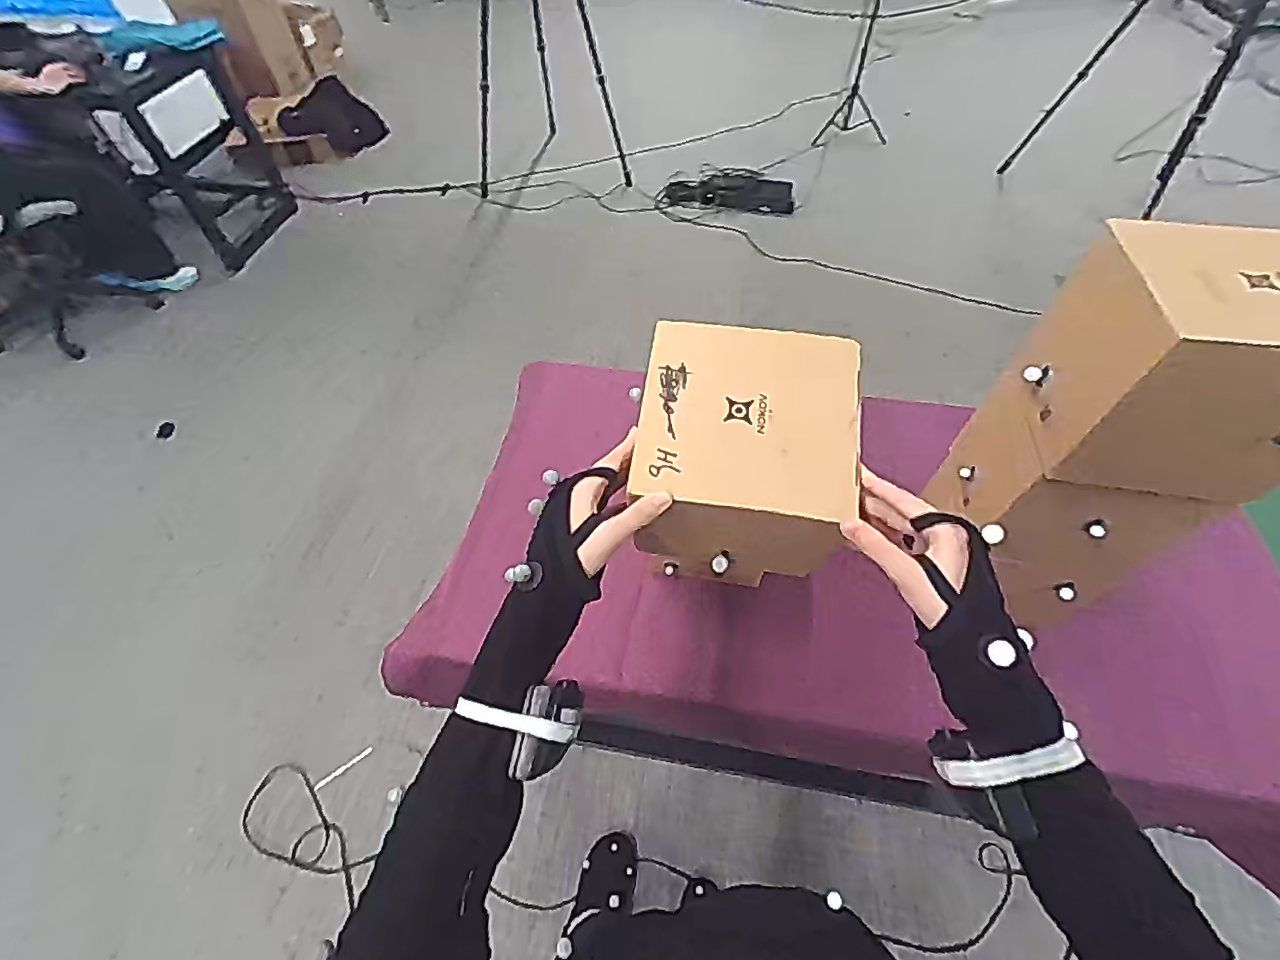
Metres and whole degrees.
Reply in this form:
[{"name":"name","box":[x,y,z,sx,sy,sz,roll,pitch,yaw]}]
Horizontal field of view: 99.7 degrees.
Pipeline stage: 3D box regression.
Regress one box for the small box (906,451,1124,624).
[{"name":"small box","box":[0.496,0.084,0.747,0.179,0.176,0.168,8,54,7]}]

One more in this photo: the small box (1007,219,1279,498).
[{"name":"small box","box":[0.472,-0.101,0.477,0.179,0.176,0.168,8,54,7]}]

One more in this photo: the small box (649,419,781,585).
[{"name":"small box","box":[0.108,0.036,0.795,0.168,0.176,0.179,7,54,6]}]
